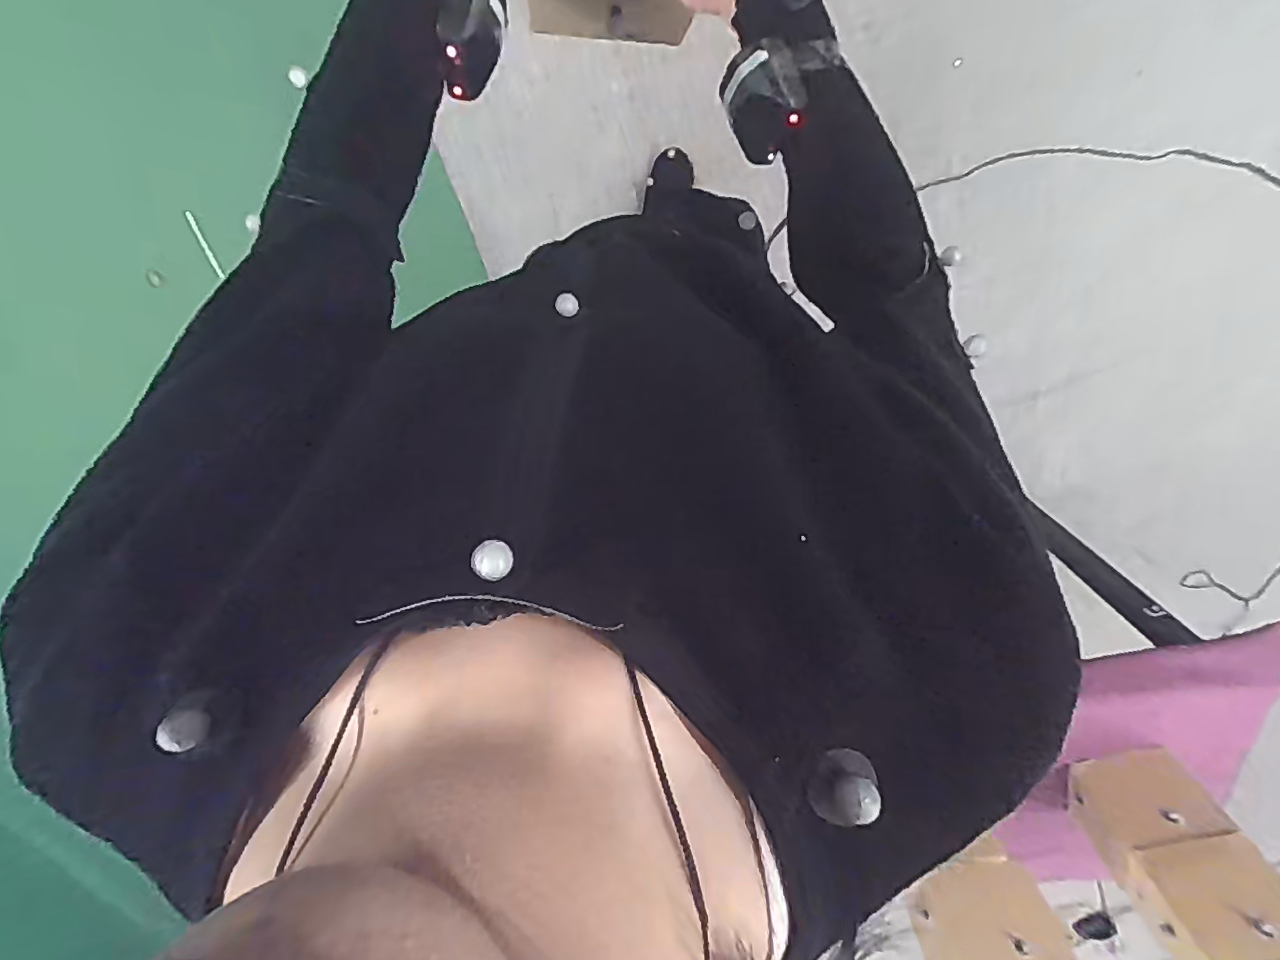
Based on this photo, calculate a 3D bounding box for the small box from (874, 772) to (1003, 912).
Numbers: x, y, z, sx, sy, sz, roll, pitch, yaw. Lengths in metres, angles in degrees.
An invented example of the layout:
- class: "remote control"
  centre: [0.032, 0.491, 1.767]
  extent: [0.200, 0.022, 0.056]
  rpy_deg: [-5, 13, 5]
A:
- class: "small box"
  centre: [0.568, 0.704, 1.053]
  extent: [0.168, 0.176, 0.179]
  rpy_deg: [-10, 117, 6]

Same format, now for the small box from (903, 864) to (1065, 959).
- class: "small box"
  centre: [0.574, 0.776, 0.905]
  extent: [0.179, 0.176, 0.168]
  rpy_deg: [-1, 118, 2]

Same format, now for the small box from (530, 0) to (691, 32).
- class: "small box"
  centre: [-0.024, -0.532, 0.477]
  extent: [0.168, 0.176, 0.179]
  rpy_deg: [-1, 113, -8]

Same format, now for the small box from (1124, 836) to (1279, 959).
- class: "small box"
  centre: [0.927, 0.711, 0.865]
  extent: [0.179, 0.176, 0.168]
  rpy_deg: [-18, 114, 10]

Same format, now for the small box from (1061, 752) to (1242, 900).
- class: "small box"
  centre: [0.937, 0.639, 1.009]
  extent: [0.179, 0.176, 0.168]
  rpy_deg: [-16, 115, 10]
